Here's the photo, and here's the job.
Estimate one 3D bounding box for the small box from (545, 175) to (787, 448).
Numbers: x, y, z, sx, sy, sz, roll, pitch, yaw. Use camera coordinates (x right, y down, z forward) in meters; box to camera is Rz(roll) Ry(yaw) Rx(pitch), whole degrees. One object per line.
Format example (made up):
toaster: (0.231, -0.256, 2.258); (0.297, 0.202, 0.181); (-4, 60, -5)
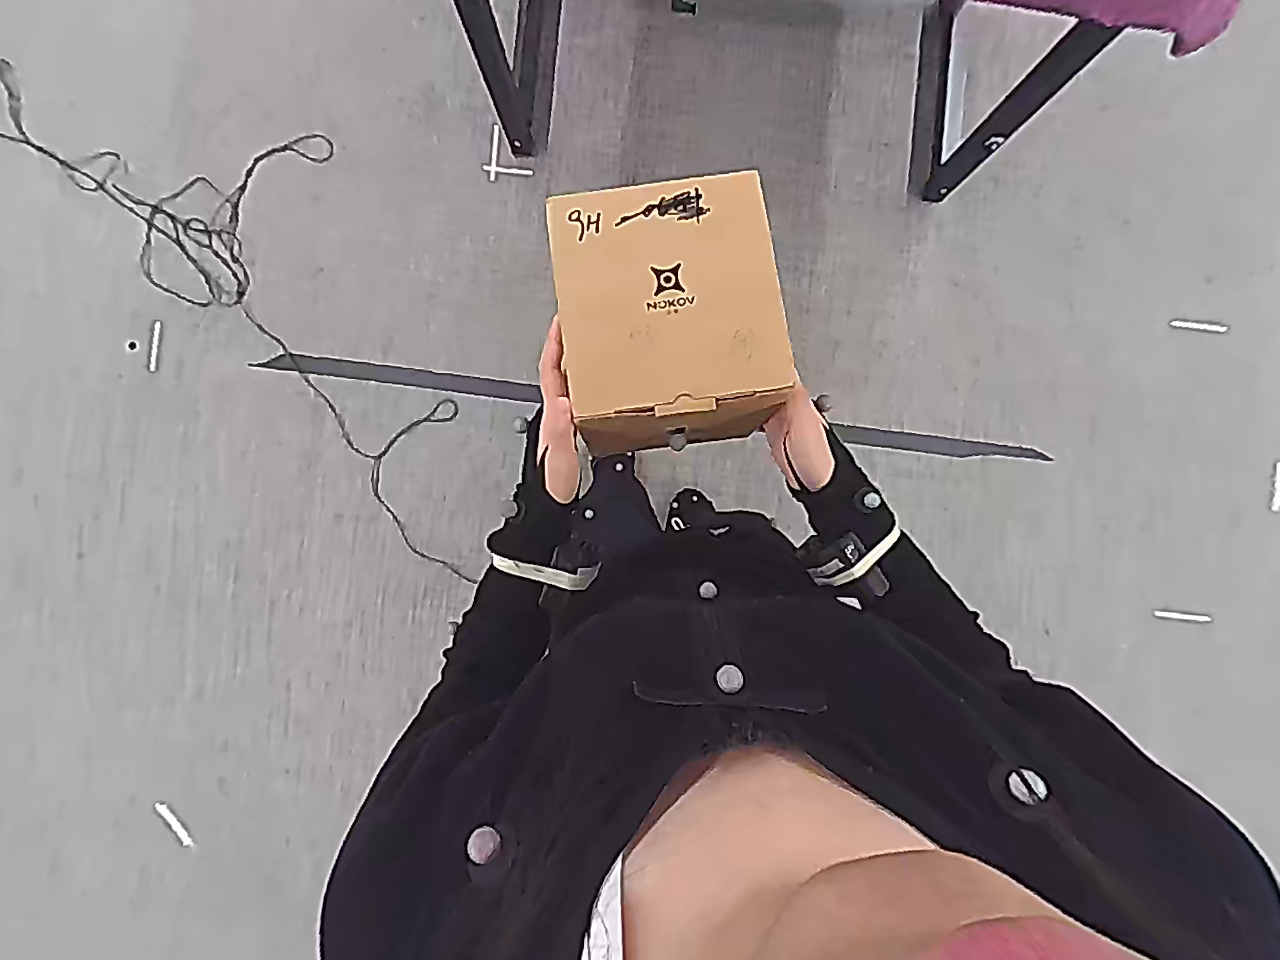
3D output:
small box: (0.019, -0.129, 0.482); (0.168, 0.176, 0.179); (-8, 84, 0)
